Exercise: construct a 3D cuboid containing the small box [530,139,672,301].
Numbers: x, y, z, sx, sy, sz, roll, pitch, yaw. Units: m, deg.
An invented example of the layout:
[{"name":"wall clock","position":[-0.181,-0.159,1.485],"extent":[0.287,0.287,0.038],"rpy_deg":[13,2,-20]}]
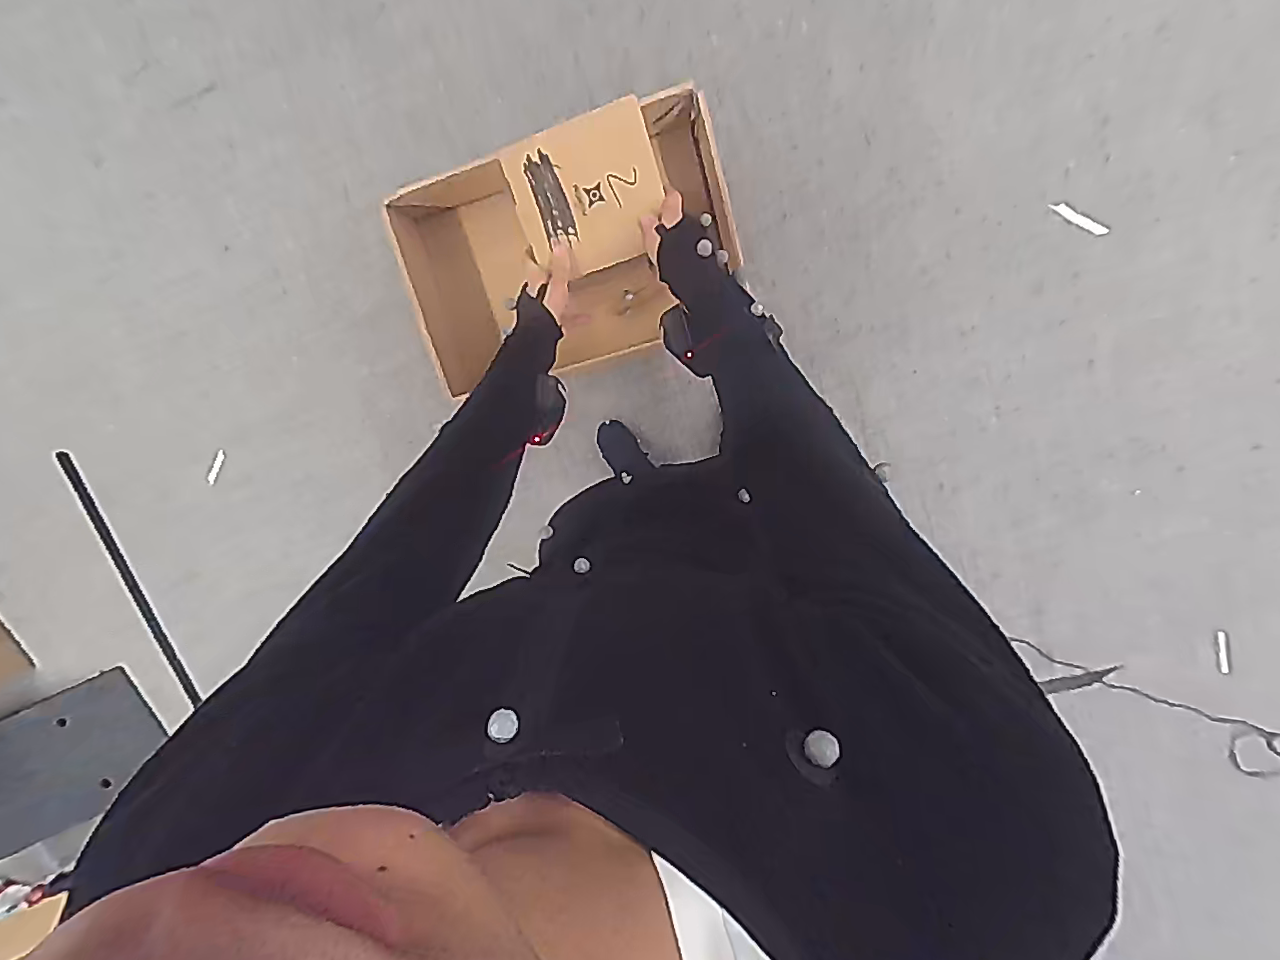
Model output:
[{"name":"small box","position":[-0.052,-0.401,0.869],"extent":[0.168,0.176,0.179],"rpy_deg":[-15,103,11]}]
